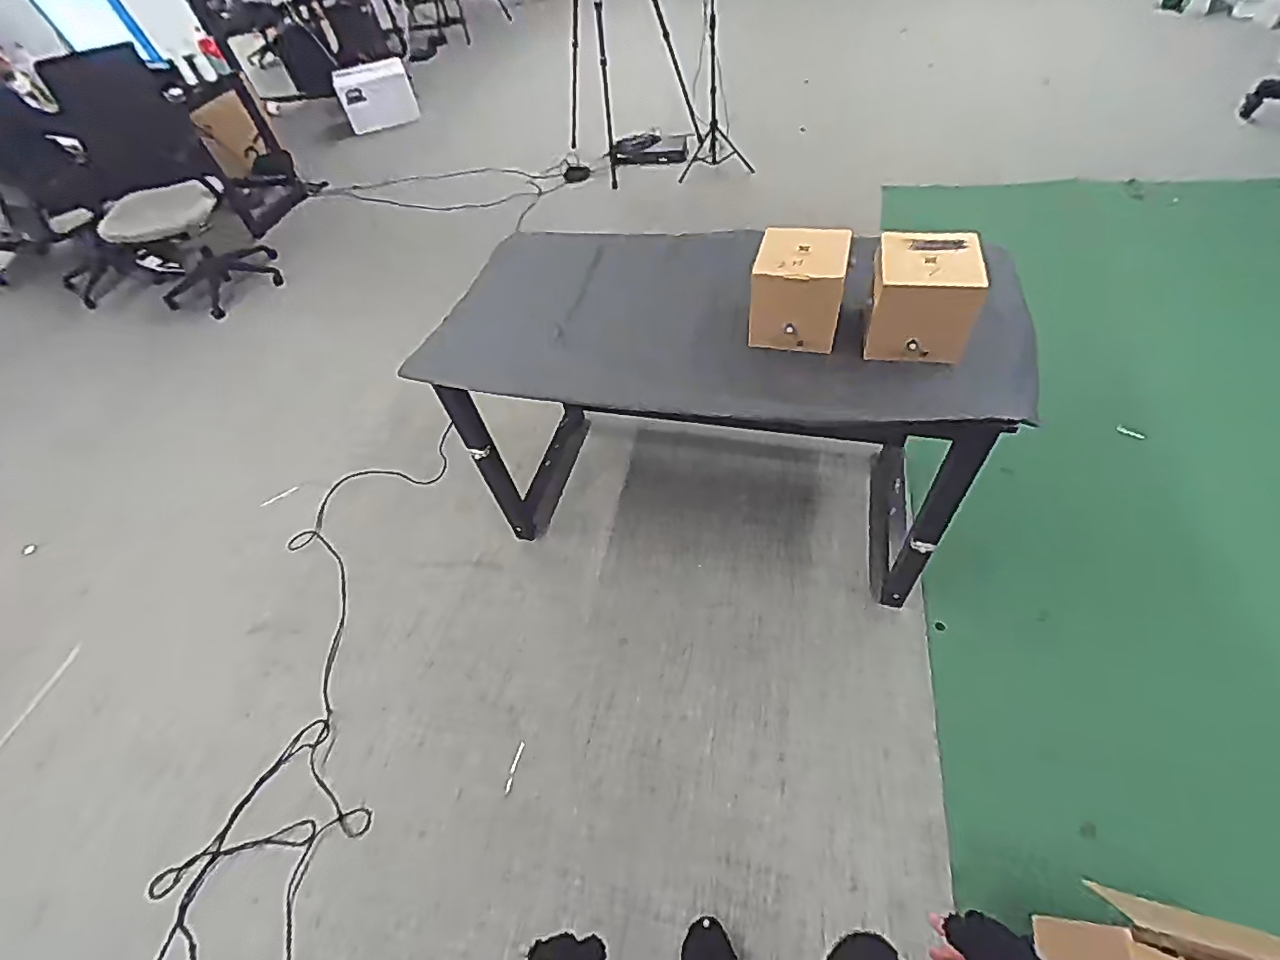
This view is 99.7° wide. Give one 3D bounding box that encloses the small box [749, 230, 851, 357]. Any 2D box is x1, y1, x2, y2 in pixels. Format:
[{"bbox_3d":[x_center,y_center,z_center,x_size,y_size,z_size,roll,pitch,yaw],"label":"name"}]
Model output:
[{"bbox_3d":[0.316,-0.375,1.087,0.168,0.176,0.179,10,54,16],"label":"small box"}]
